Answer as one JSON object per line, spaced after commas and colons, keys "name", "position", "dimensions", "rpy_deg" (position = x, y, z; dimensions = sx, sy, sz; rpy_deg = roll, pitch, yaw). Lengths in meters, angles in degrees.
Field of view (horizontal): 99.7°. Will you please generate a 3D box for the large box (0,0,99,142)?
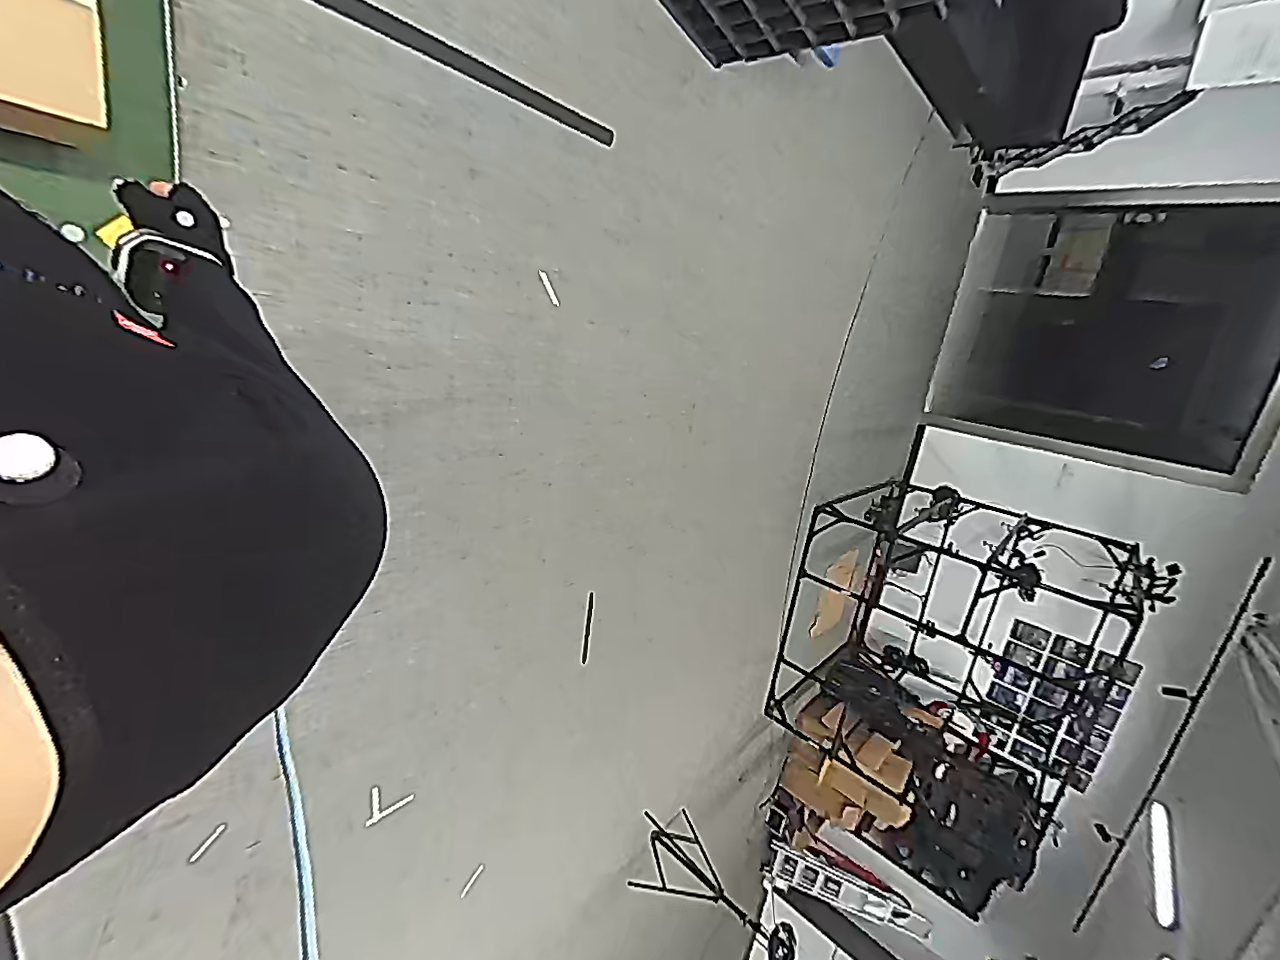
{"name": "large box", "position": [-1.012, -0.682, 0.689], "dimensions": [0.408, 0.320, 0.320], "rpy_deg": [-10, 114, -50]}
